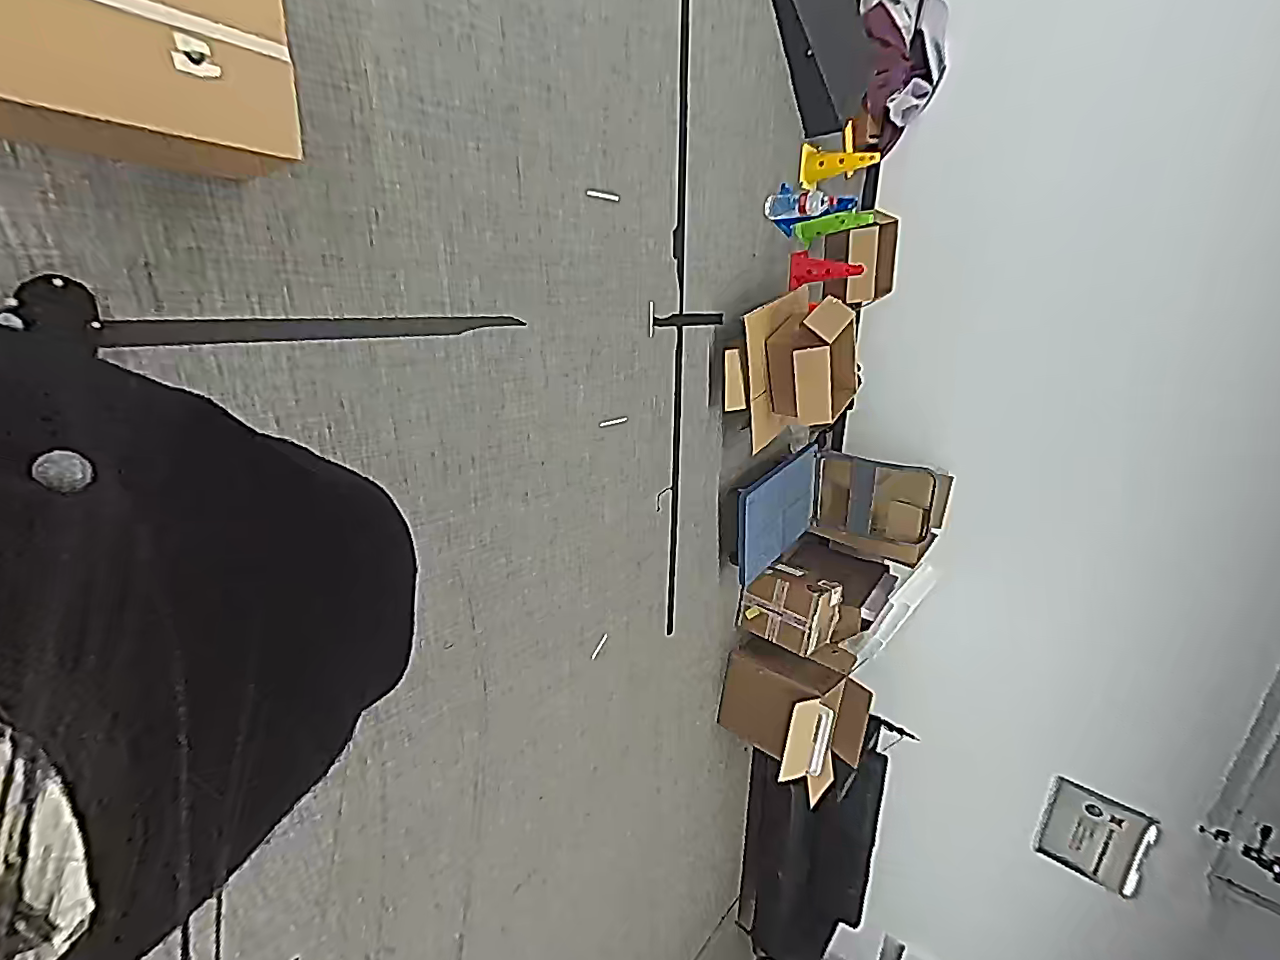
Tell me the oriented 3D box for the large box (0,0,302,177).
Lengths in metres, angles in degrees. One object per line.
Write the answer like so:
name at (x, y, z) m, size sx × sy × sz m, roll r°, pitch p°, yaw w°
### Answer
large box at (-0.835, -0.705, 0.855) m, size 0.408 × 0.320 × 0.320 m, roll -17°, pitch 116°, yaw -48°
